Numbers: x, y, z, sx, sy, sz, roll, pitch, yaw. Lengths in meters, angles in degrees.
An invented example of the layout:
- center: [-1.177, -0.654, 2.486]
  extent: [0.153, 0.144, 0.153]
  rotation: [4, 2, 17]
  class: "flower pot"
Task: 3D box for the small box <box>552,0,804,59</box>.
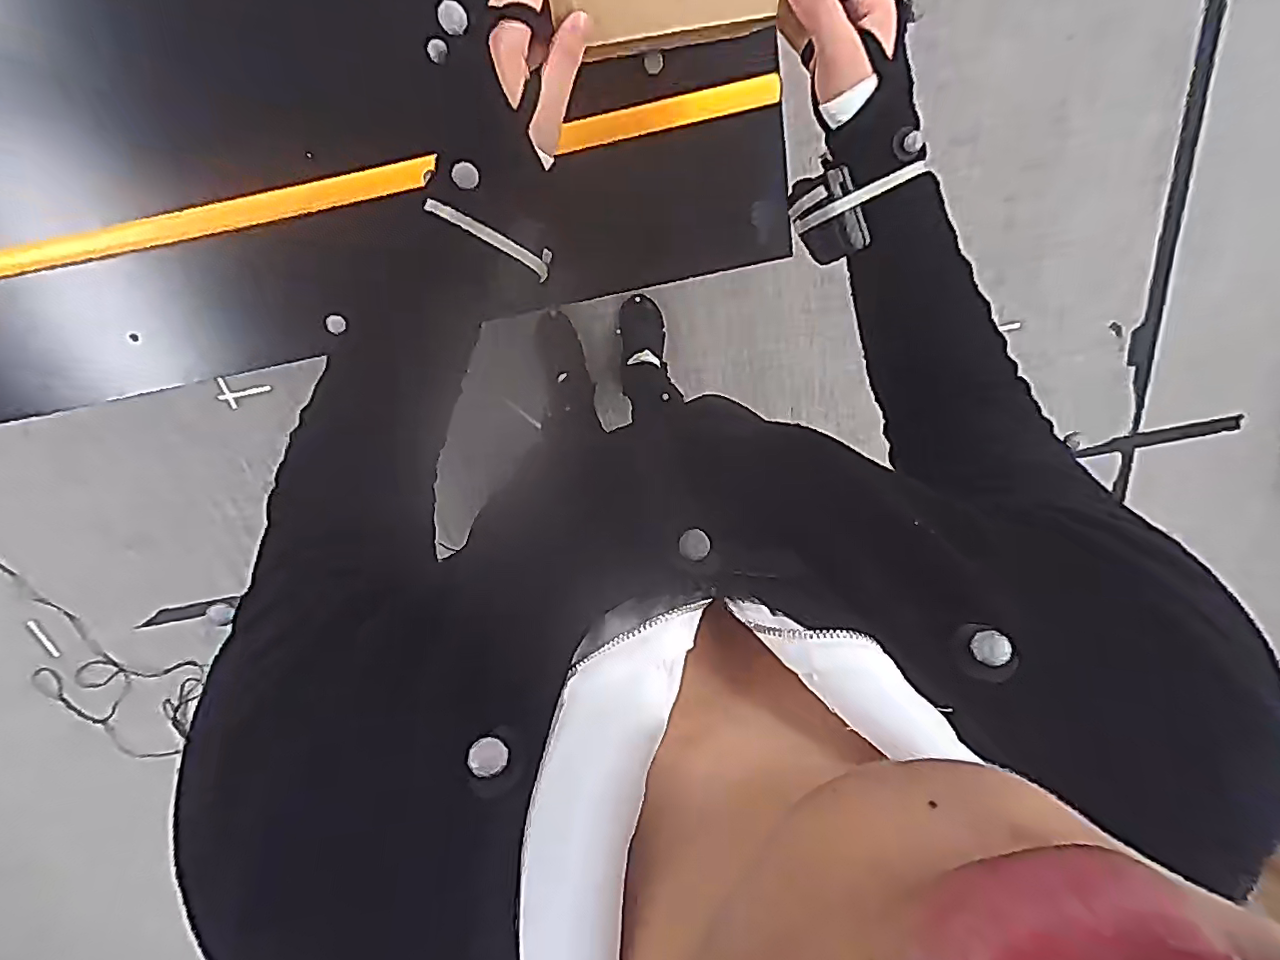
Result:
- center: [0.010, -0.414, 0.369]
  extent: [0.168, 0.176, 0.179]
  rotation: [-9, 125, 0]
  class: "small box"
